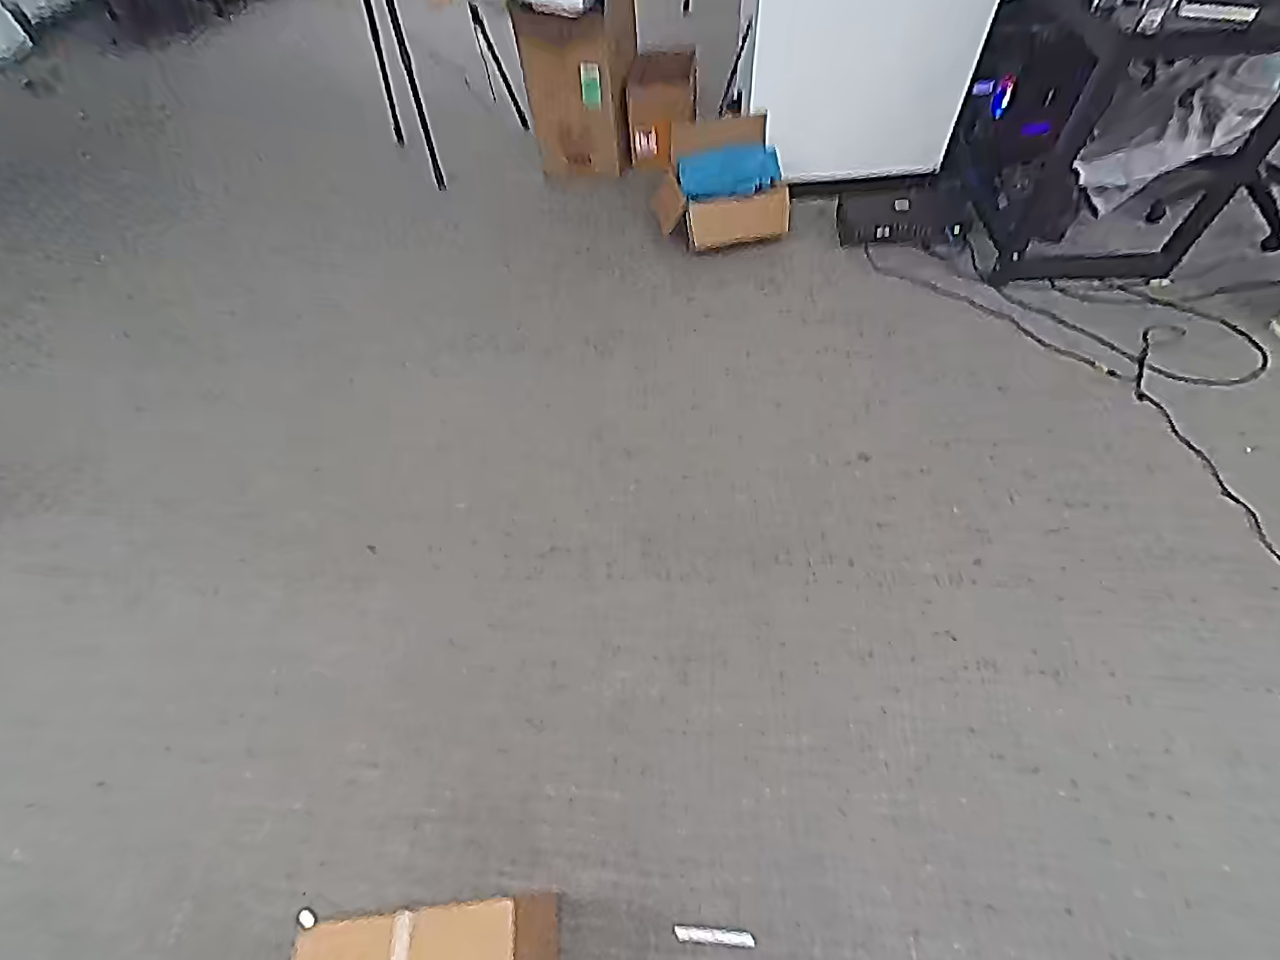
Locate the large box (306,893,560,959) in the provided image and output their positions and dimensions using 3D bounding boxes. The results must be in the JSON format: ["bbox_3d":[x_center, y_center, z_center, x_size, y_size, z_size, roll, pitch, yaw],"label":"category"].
[{"bbox_3d":[-0.294,0.877,0.791,0.320,0.320,0.408,-7,52,0],"label":"large box"}]
